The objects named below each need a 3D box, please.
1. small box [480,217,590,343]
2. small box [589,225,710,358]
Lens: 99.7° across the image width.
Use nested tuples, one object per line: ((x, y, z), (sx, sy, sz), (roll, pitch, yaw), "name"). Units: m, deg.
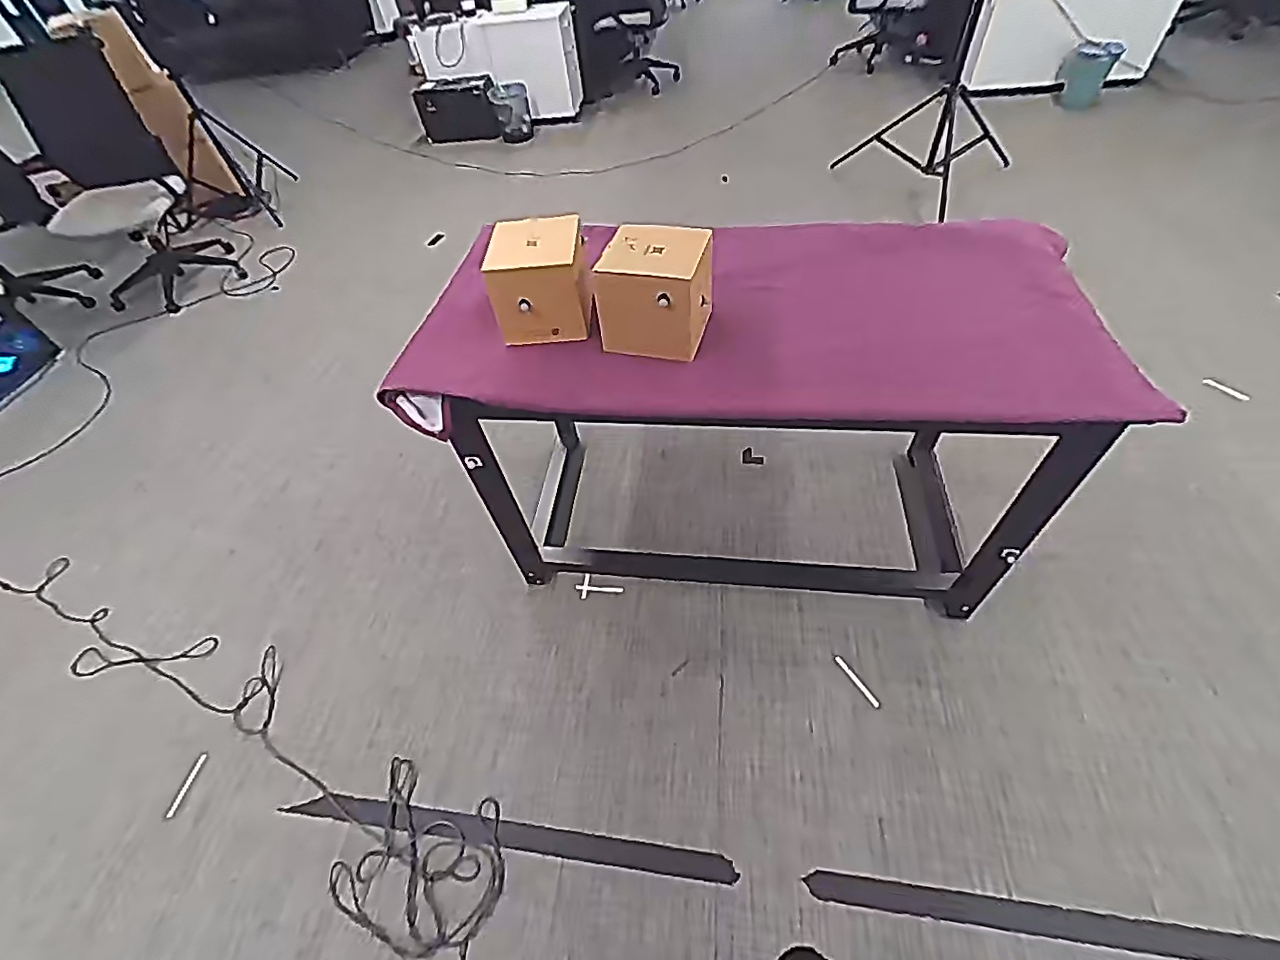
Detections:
((-0.194, -0.383, 1.057), (0.168, 0.176, 0.179), (-4, 51, 4), "small box")
((0.026, -0.344, 0.996), (0.179, 0.176, 0.168), (10, 52, 15), "small box")
